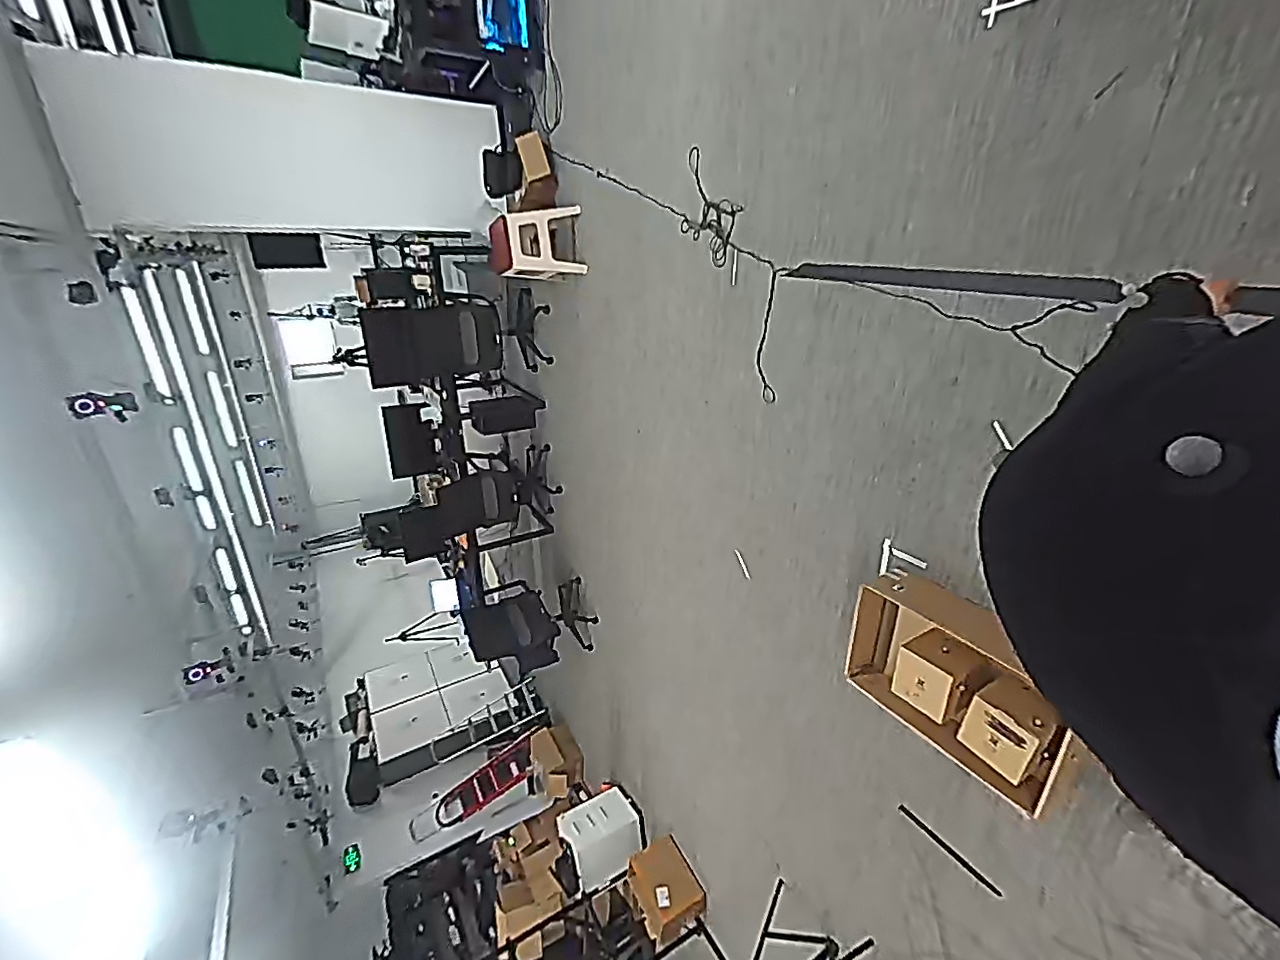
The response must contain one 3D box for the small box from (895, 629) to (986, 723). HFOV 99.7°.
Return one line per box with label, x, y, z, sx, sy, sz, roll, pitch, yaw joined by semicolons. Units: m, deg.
small box;0.901;0.578;1.621;0.168;0.176;0.179;32;128;53
